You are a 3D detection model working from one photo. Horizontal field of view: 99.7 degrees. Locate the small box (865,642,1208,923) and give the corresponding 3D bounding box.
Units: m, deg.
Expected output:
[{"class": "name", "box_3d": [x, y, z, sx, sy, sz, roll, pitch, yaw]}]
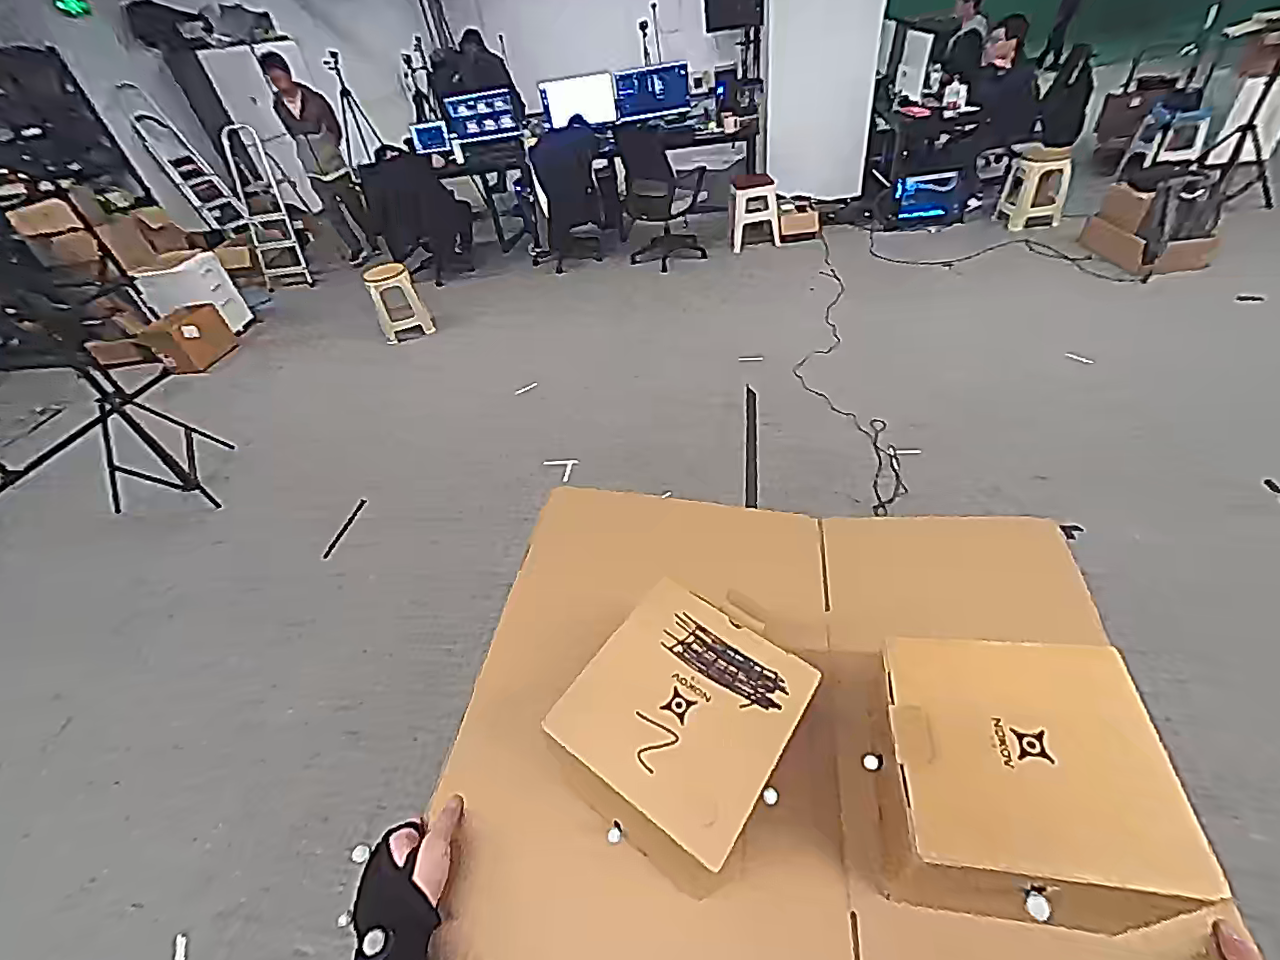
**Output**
[{"class": "small box", "box_3d": [0.302, 0.260, 0.467, 0.179, 0.176, 0.168, -2, 45, 15]}]
